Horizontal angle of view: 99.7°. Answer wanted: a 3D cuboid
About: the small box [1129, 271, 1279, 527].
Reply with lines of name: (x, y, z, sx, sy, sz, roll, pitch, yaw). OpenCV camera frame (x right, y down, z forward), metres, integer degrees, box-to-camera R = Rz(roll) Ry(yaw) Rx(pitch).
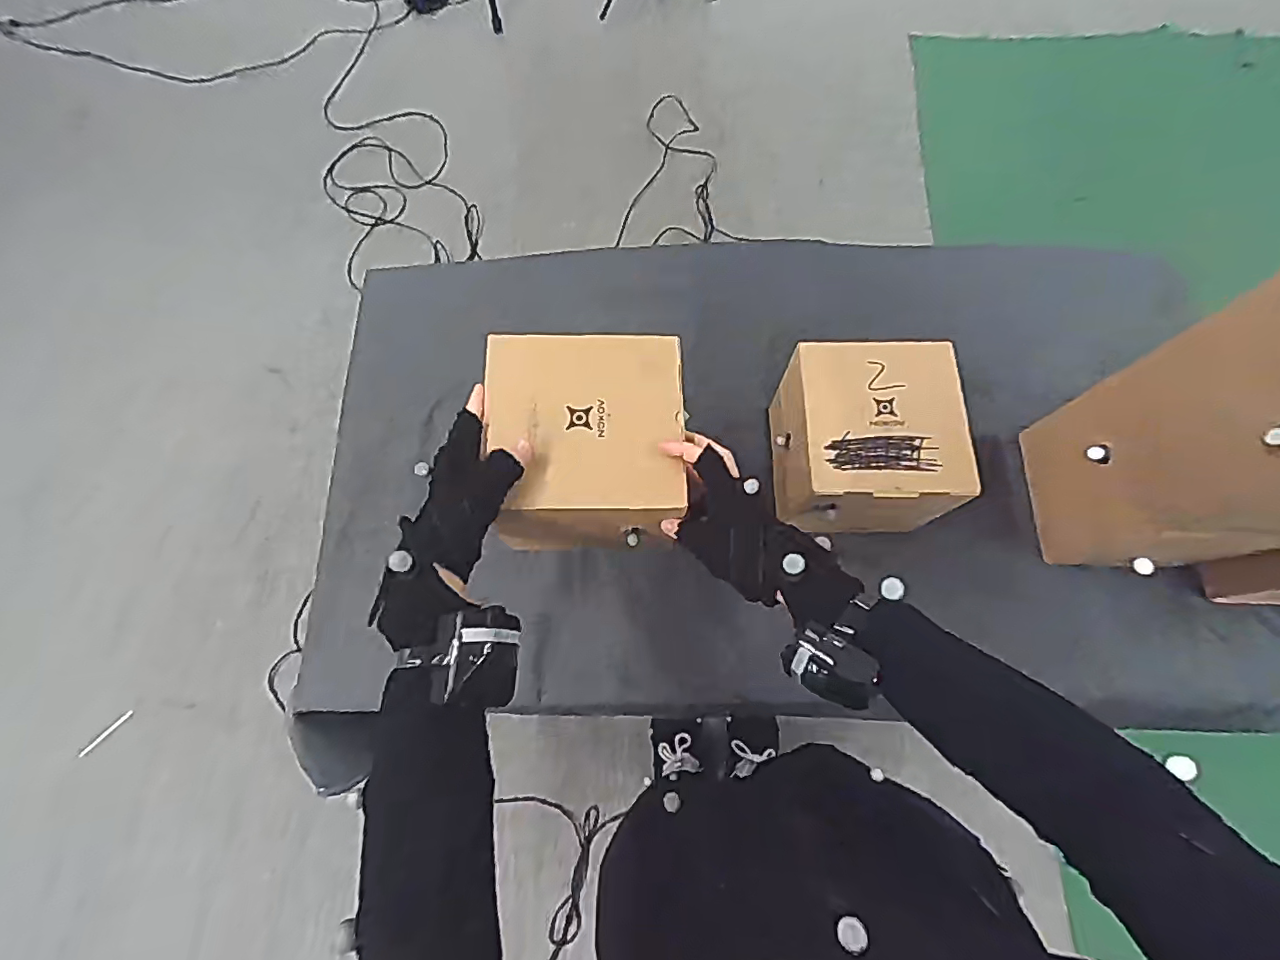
small box: (0.576, -0.058, 0.457, 0.168, 0.176, 0.179, 3, 72, 3)

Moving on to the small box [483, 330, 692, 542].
small box: (-0.047, -0.034, 0.548, 0.179, 0.176, 0.168, 0, 72, -2)
